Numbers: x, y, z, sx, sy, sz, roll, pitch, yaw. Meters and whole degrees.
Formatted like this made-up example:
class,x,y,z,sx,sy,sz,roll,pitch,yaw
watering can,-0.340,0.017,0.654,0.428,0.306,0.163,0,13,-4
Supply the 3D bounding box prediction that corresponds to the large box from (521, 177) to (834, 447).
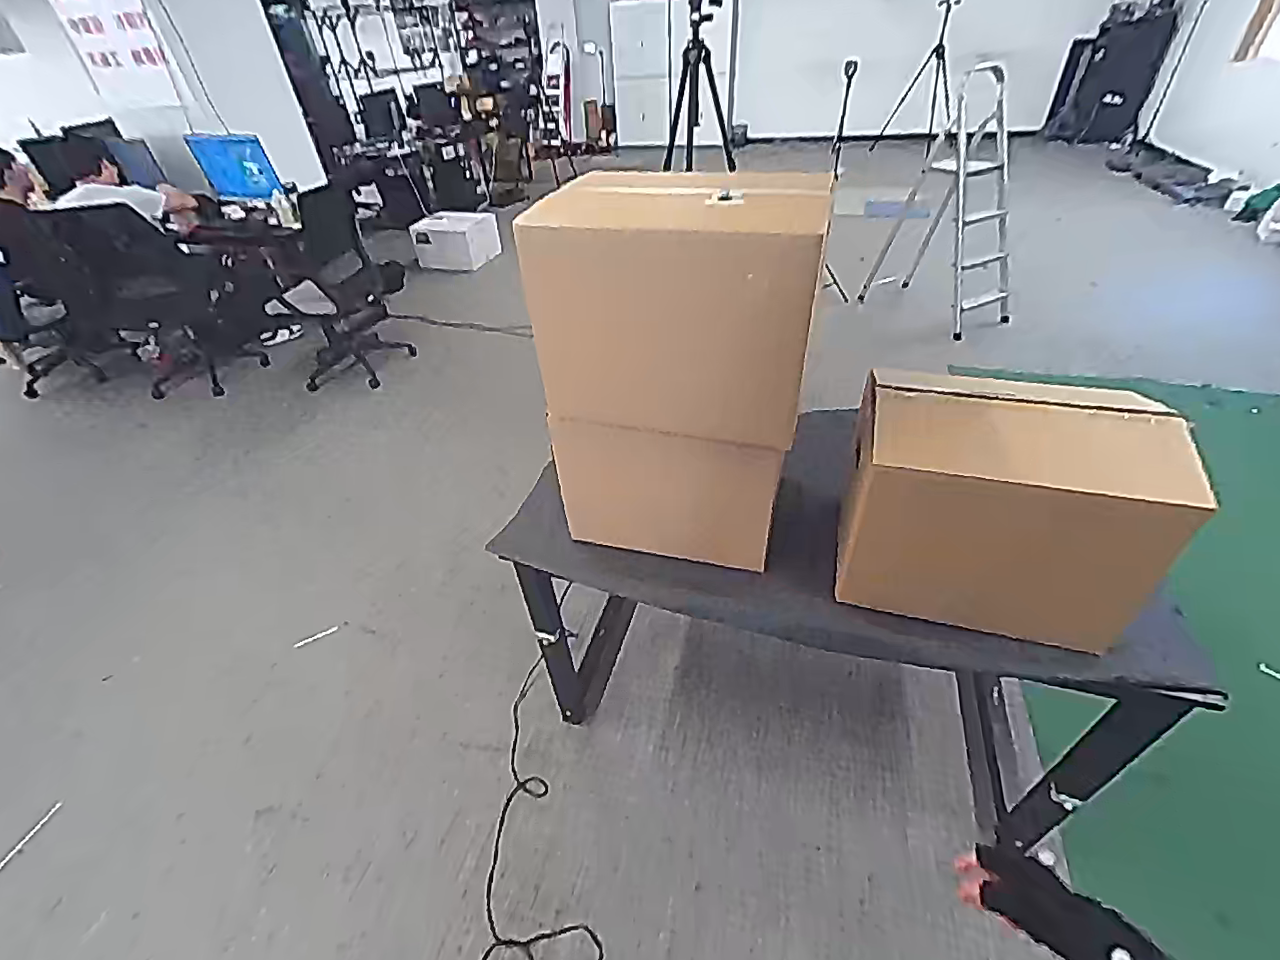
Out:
class,x,y,z,sx,sy,sz,roll,pitch,yaw
large box,0.073,-0.284,0.880,0.408,0.320,0.320,11,43,14
